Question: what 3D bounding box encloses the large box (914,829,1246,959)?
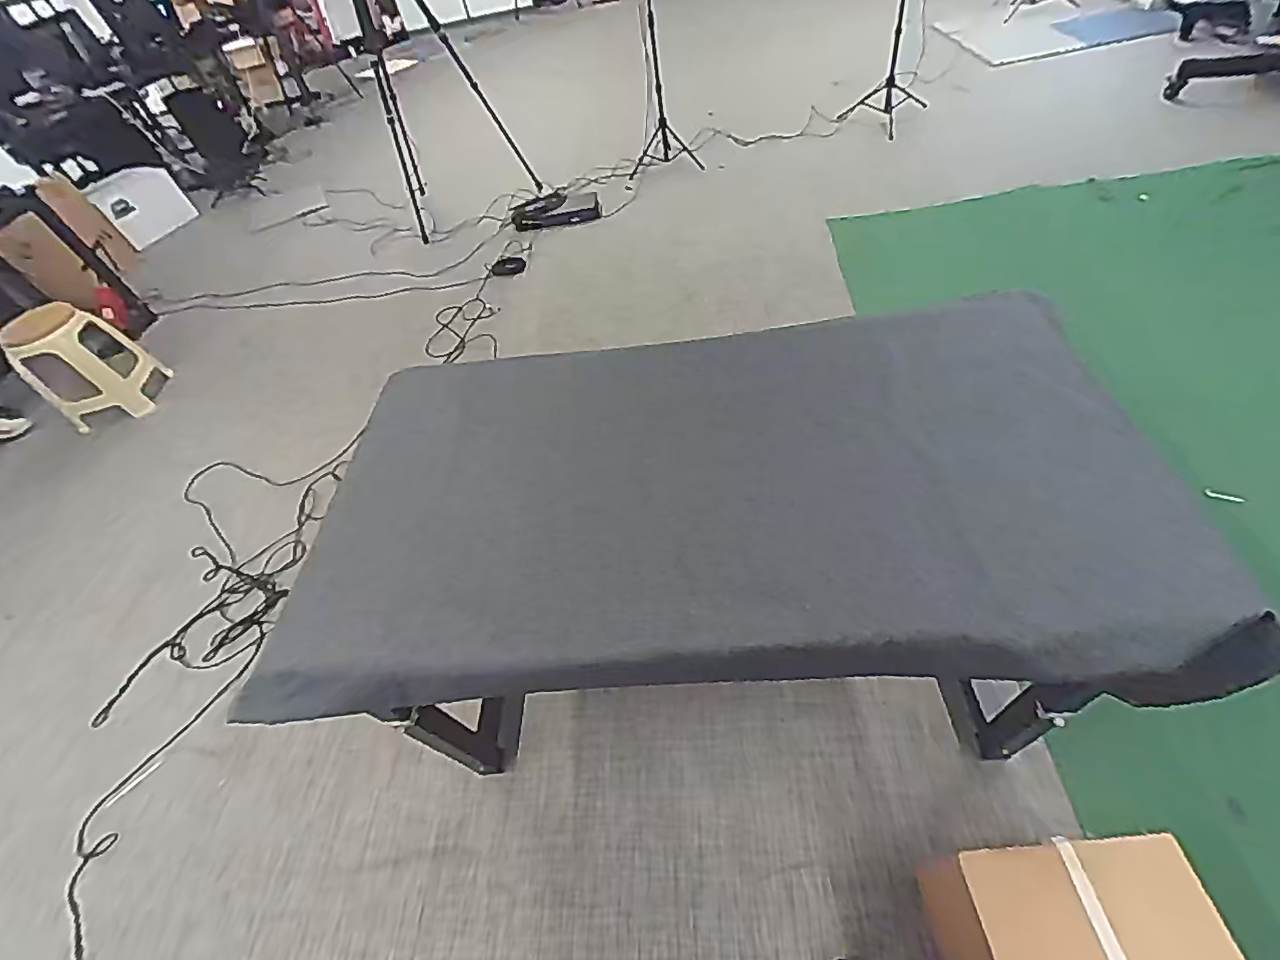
[{"bbox_3d":[0.670,0.783,0.802,0.320,0.320,0.408,-9,51,5],"label":"large box"}]
